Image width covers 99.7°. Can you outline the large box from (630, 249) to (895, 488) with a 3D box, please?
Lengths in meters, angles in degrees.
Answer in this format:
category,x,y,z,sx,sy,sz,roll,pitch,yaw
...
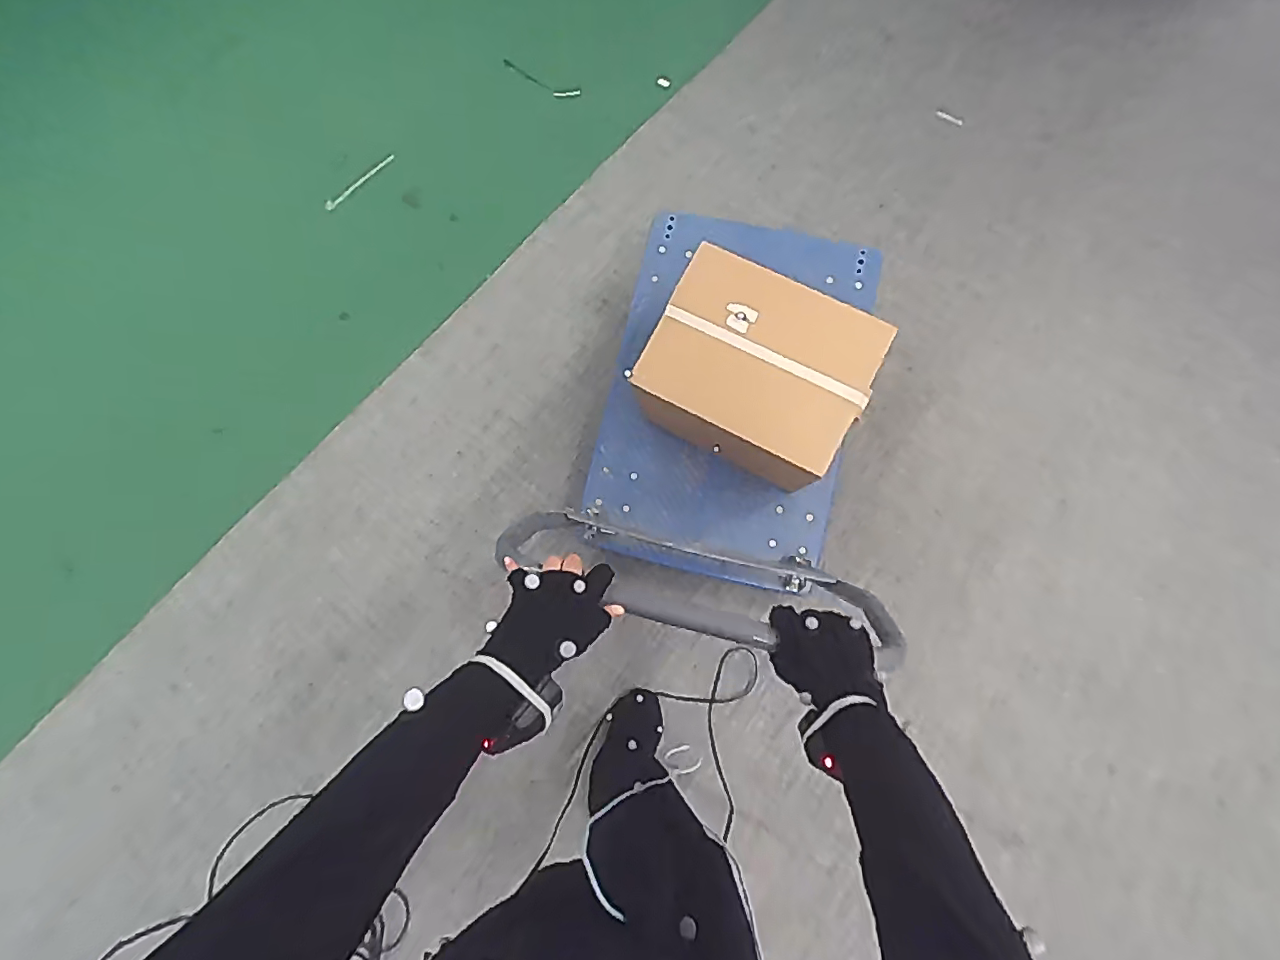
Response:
category,x,y,z,sx,sy,sz,roll,pitch,yaw
large box,0.242,-0.210,1.150,0.408,0.320,0.320,28,87,9
